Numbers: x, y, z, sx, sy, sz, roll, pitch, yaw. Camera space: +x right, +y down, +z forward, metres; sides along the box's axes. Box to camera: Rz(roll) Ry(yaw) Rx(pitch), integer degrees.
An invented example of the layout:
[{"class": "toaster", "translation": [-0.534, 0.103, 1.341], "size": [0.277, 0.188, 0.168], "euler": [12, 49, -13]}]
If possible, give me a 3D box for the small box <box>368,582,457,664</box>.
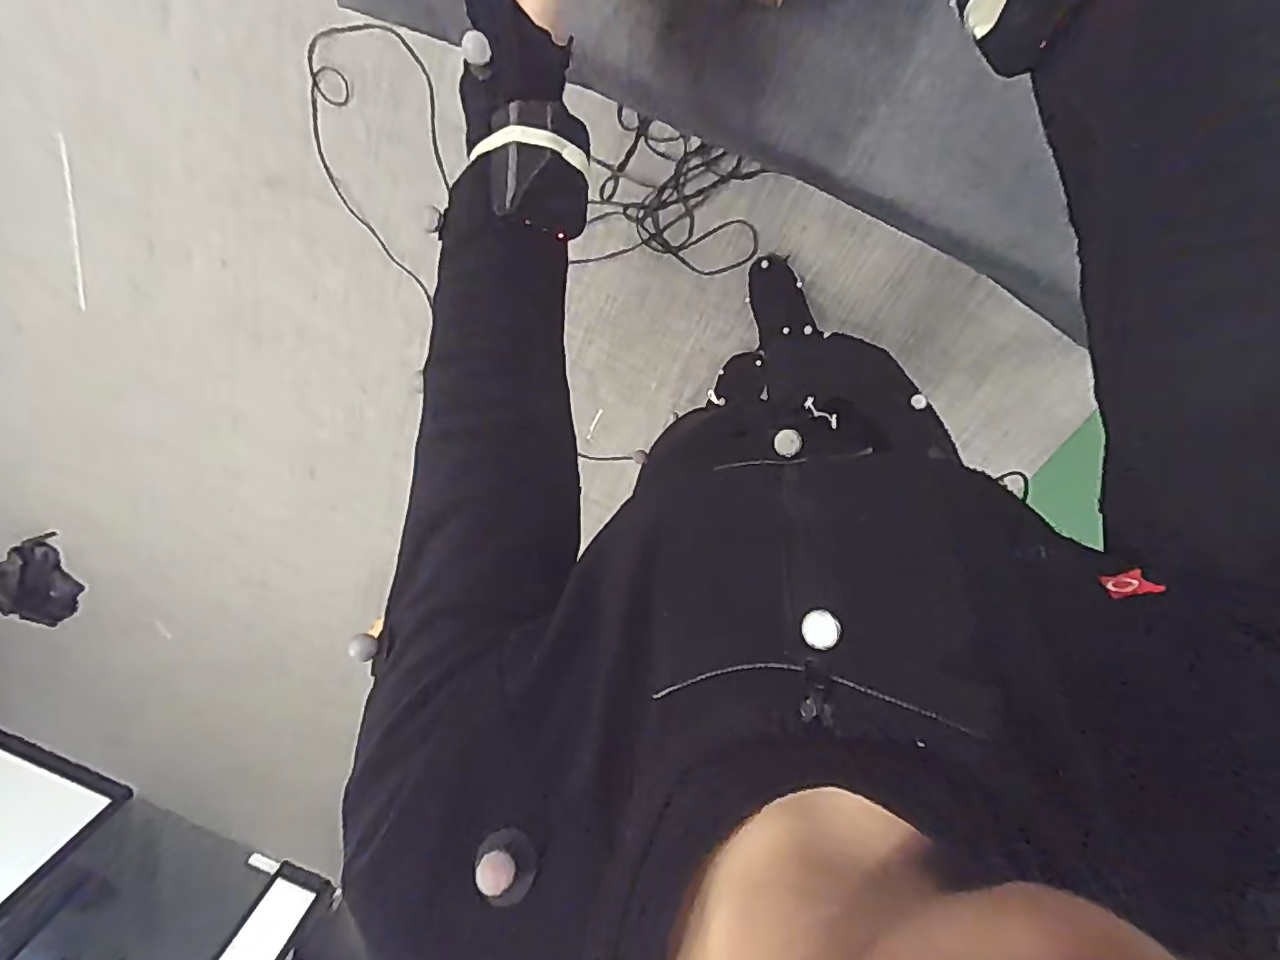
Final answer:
[{"class": "small box", "translation": [-0.747, 0.463, 1.790], "size": [0.179, 0.176, 0.168], "euler": [41, 118, -10]}]
